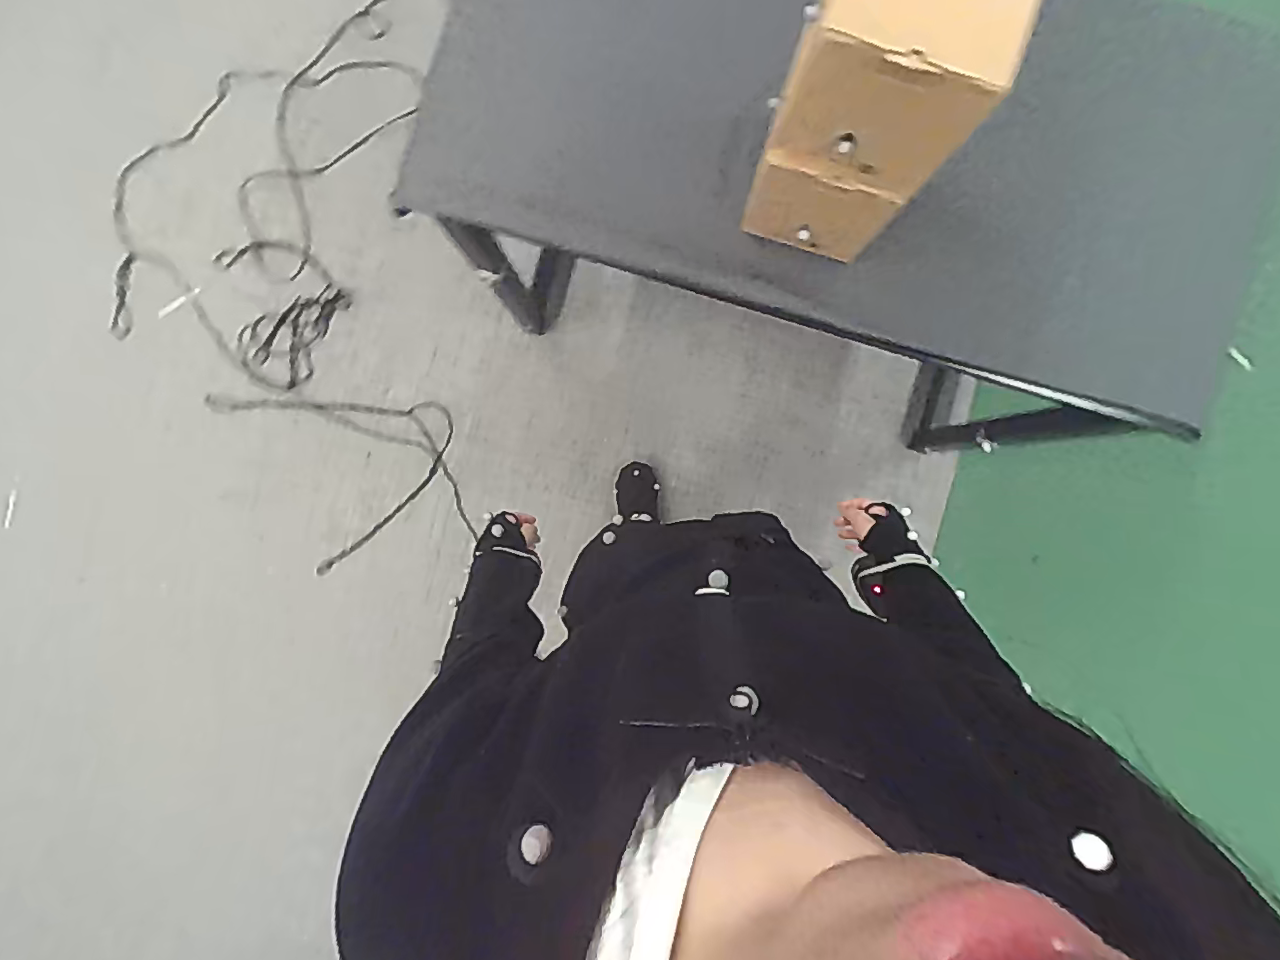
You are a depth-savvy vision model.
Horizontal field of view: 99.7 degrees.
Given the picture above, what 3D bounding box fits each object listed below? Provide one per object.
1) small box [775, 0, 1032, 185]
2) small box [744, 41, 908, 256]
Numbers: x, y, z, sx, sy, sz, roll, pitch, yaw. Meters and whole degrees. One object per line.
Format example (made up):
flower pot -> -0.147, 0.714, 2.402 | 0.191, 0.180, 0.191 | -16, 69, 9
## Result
small box -> 0.246, -0.430, 0.522 | 0.168, 0.176, 0.179 | 17, 90, 0
small box -> 0.241, -0.420, 0.684 | 0.168, 0.176, 0.179 | 17, 89, 1
